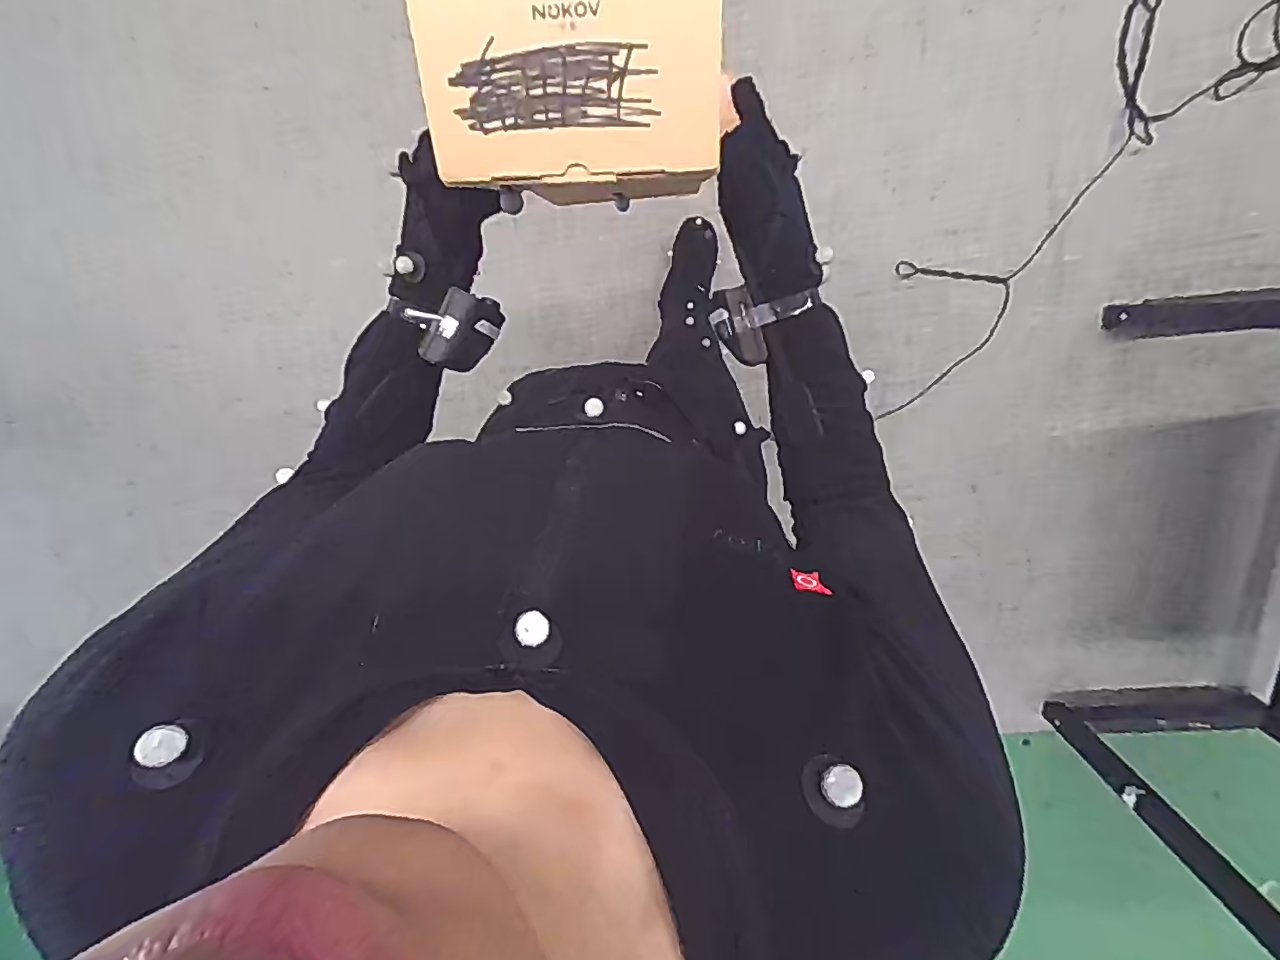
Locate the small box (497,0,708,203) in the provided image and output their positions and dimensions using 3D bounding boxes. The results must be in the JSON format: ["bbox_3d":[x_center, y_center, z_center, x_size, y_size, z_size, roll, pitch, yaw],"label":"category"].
[{"bbox_3d":[-0.025,-0.371,0.504,0.168,0.176,0.179,-3,111,5],"label":"small box"}]
